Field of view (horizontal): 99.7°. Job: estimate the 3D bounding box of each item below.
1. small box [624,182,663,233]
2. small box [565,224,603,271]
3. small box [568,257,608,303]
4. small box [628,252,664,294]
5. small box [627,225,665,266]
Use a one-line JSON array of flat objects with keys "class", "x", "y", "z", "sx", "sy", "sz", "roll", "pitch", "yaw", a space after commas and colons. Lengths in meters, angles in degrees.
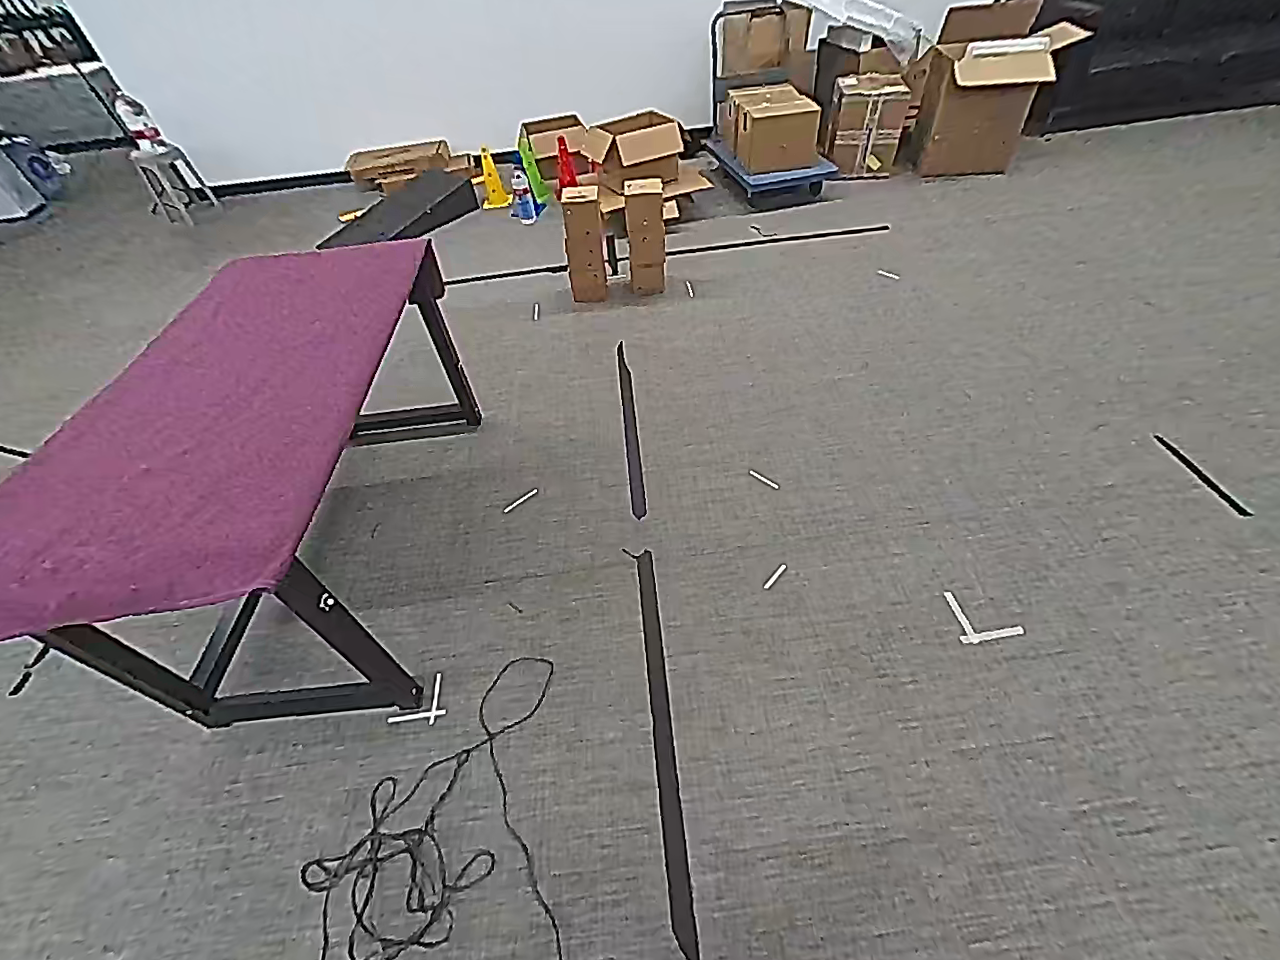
[{"class": "small box", "x": 0.019, "y": -1.280, "z": 2.540, "sx": 0.179, "sy": 0.176, "sz": 0.168, "roll": -2, "pitch": 48, "yaw": 2}, {"class": "small box", "x": -0.274, "y": -1.144, "z": 2.671, "sx": 0.168, "sy": 0.176, "sz": 0.179, "roll": -2, "pitch": 47, "yaw": 1}, {"class": "small box", "x": -0.266, "y": -1.029, "z": 2.785, "sx": 0.179, "sy": 0.176, "sz": 0.168, "roll": -2, "pitch": 48, "yaw": 3}, {"class": "small box", "x": 0.034, "y": -1.075, "z": 2.797, "sx": 0.168, "sy": 0.176, "sz": 0.179, "roll": -7, "pitch": 47, "yaw": -2}, {"class": "small box", "x": 0.030, "y": -1.173, "z": 2.664, "sx": 0.179, "sy": 0.176, "sz": 0.168, "roll": -5, "pitch": 49, "yaw": 0}]
